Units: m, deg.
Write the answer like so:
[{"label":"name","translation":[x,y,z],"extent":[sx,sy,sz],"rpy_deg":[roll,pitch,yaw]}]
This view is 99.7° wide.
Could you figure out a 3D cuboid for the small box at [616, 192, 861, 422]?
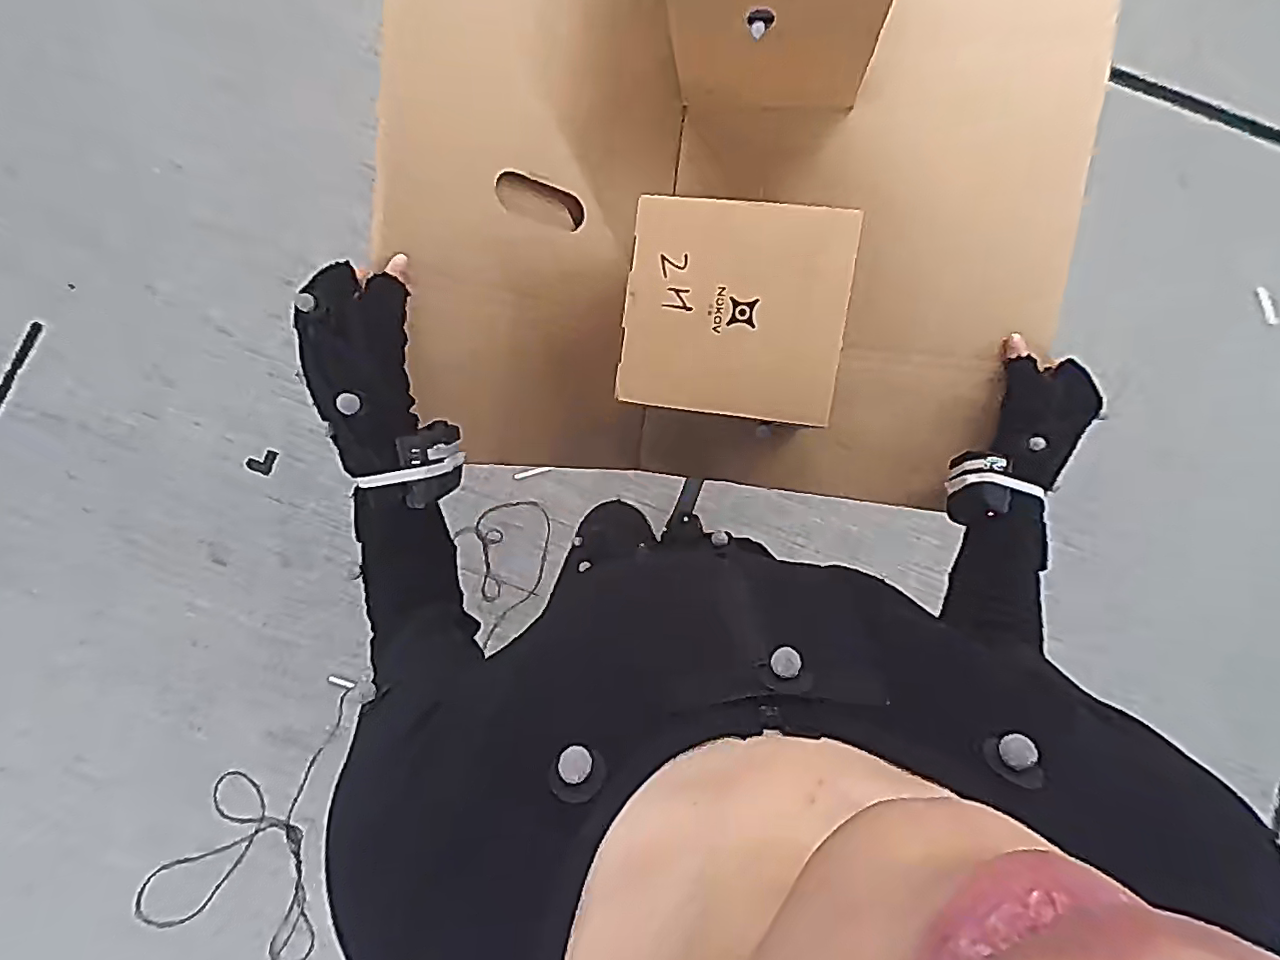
[{"label":"small box","translation":[0.088,-0.149,0.515],"extent":[0.179,0.176,0.168],"rpy_deg":[9,97,9]}]

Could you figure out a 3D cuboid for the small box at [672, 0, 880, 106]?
[{"label":"small box","translation":[0.124,-0.464,0.478],"extent":[0.179,0.176,0.168],"rpy_deg":[7,97,9]}]
